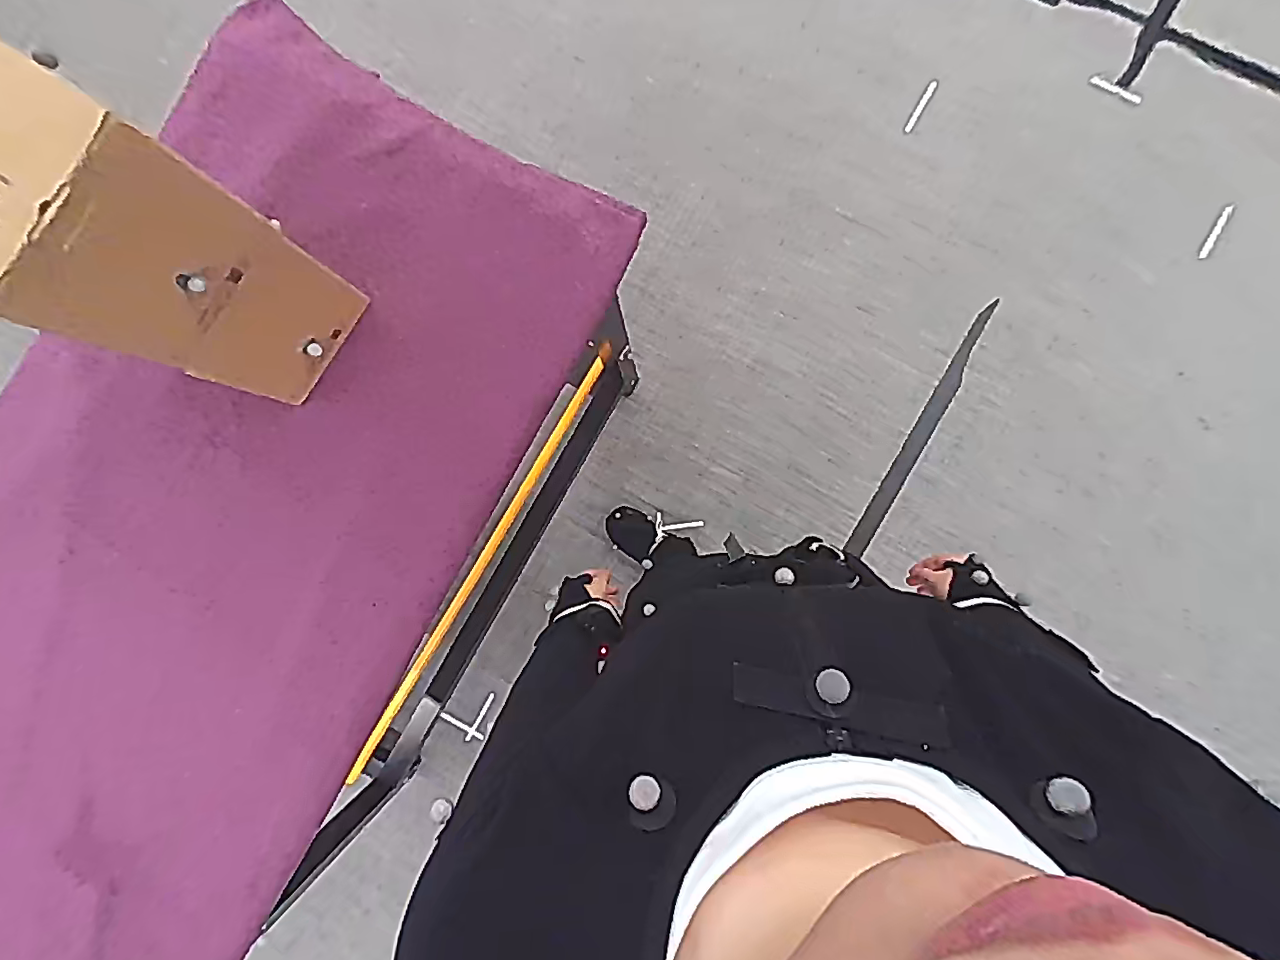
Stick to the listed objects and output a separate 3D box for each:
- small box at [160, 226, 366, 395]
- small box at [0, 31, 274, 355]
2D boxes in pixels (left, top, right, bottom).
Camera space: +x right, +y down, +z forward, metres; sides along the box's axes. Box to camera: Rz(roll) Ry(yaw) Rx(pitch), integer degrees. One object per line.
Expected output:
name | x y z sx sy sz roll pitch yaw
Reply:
small box | -0.462 -0.216 0.612 0.179 0.176 0.168 33 89 3
small box | -0.466 -0.227 0.448 0.179 0.176 0.168 33 90 3
